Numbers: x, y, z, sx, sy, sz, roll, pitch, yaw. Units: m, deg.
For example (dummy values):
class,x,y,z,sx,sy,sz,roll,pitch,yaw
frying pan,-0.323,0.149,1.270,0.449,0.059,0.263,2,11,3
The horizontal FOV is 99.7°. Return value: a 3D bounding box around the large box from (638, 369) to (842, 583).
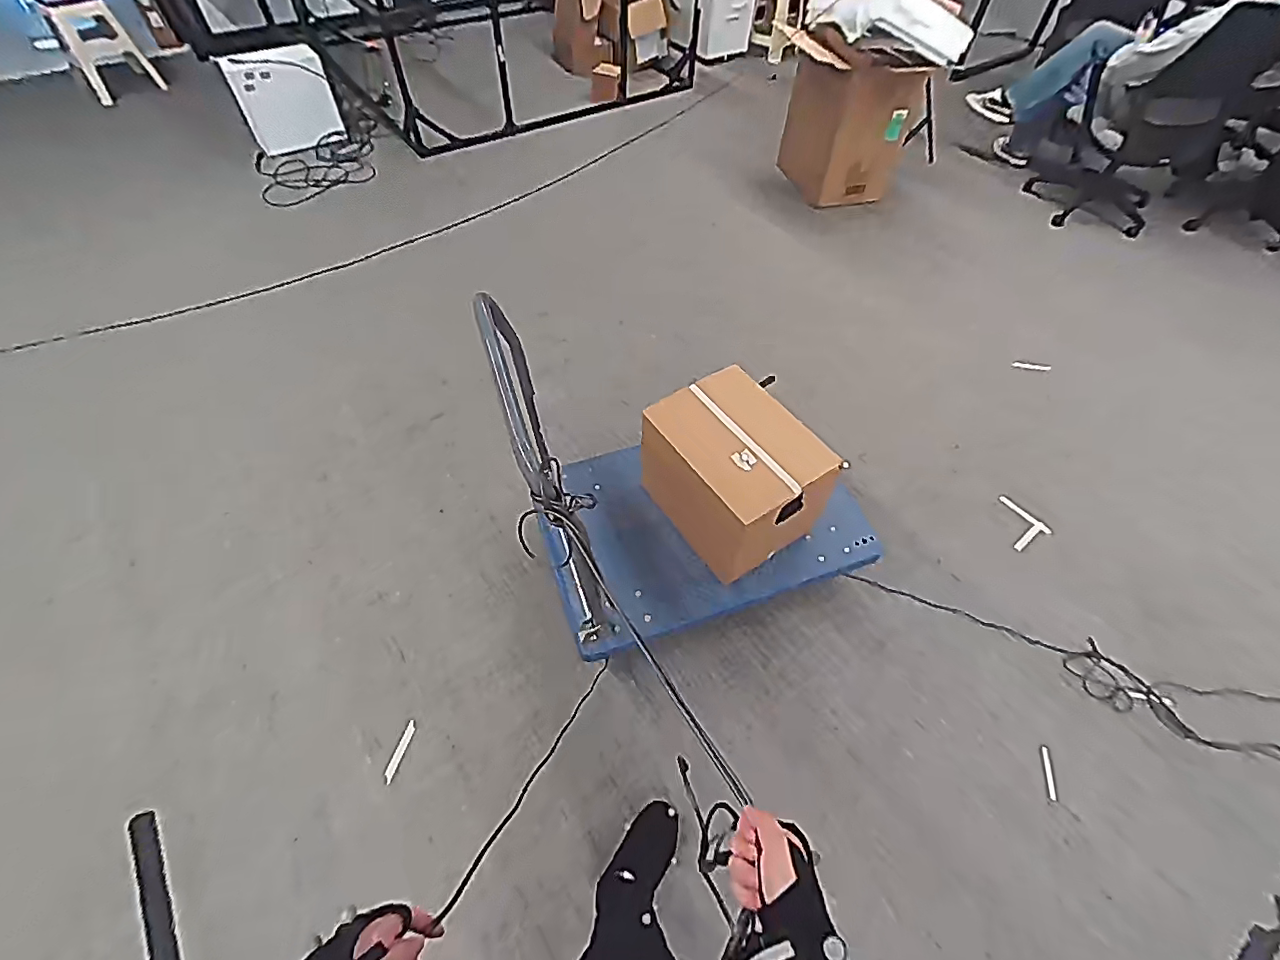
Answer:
class,x,y,z,sx,sy,sz,roll,pitch,yaw
large box,0.233,-0.014,1.425,0.320,0.320,0.408,-29,61,-20
